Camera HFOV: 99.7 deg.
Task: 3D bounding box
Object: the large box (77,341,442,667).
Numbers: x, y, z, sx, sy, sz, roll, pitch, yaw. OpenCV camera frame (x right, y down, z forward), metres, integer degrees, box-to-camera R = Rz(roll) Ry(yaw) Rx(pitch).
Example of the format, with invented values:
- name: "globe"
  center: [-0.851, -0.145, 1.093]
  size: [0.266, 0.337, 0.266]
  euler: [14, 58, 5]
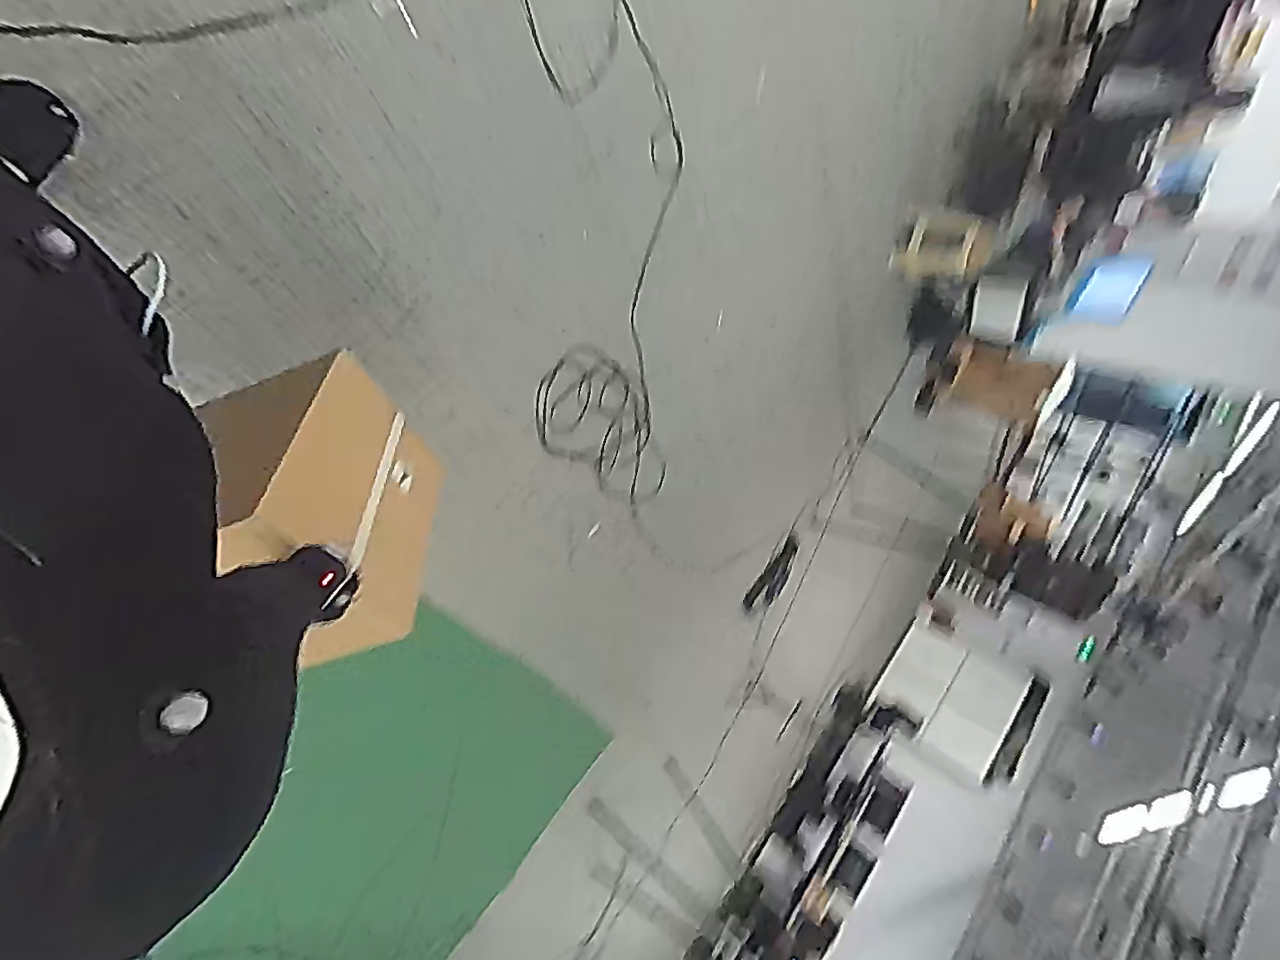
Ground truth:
- name: "large box"
  center: [-0.582, 0.040, 0.924]
  size: [0.320, 0.408, 0.320]
  euler: [-19, 134, 7]
